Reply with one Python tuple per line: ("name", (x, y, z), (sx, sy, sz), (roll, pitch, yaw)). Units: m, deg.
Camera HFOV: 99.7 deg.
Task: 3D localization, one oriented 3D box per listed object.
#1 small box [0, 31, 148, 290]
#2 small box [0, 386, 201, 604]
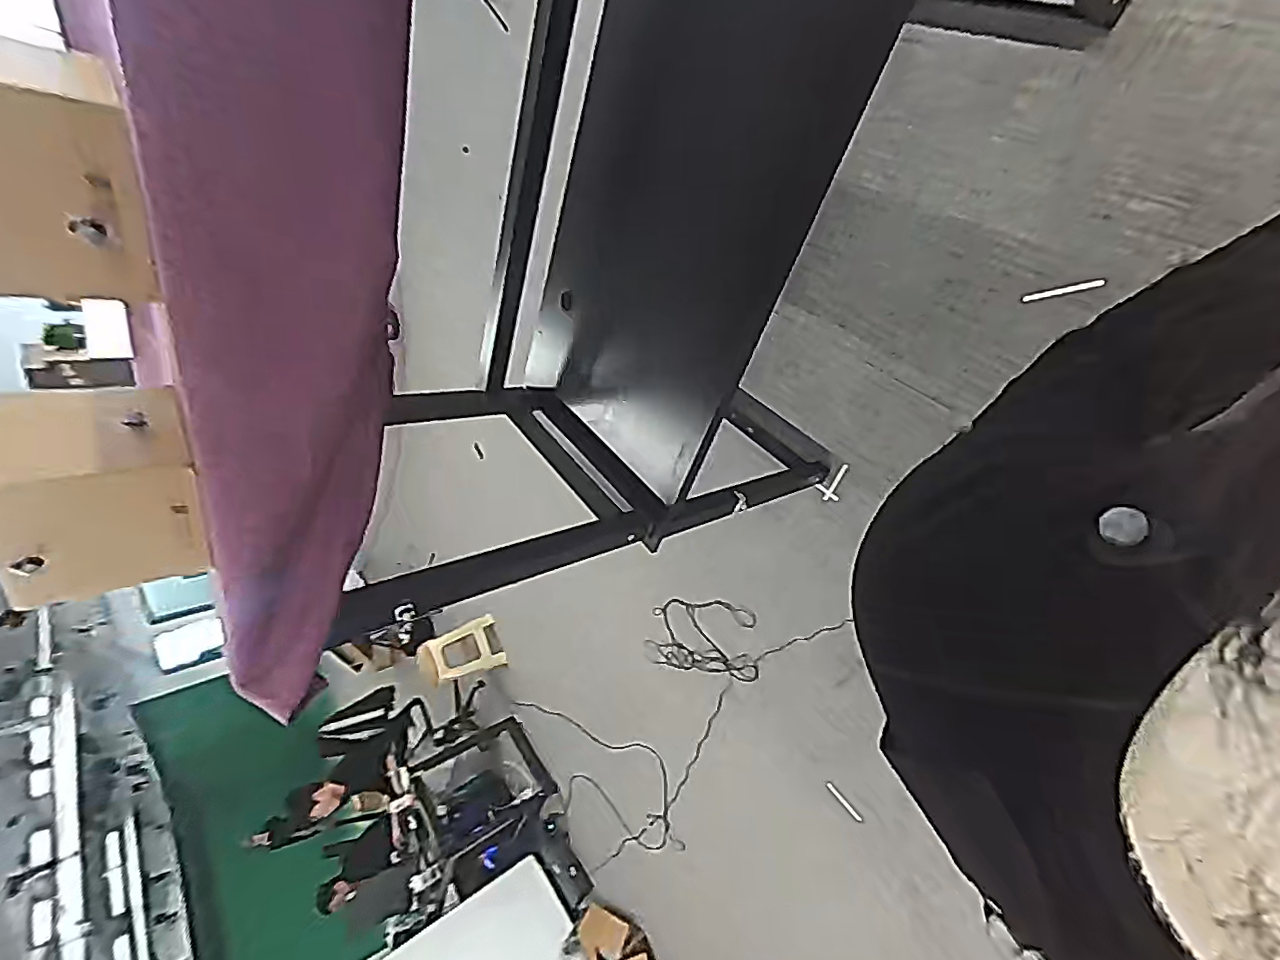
("small box", (-0.543, -0.271, 0.454), (0.179, 0.176, 0.168), (46, 132, 31))
("small box", (-0.621, 0.005, 0.614), (0.179, 0.176, 0.168), (45, 130, 33))
